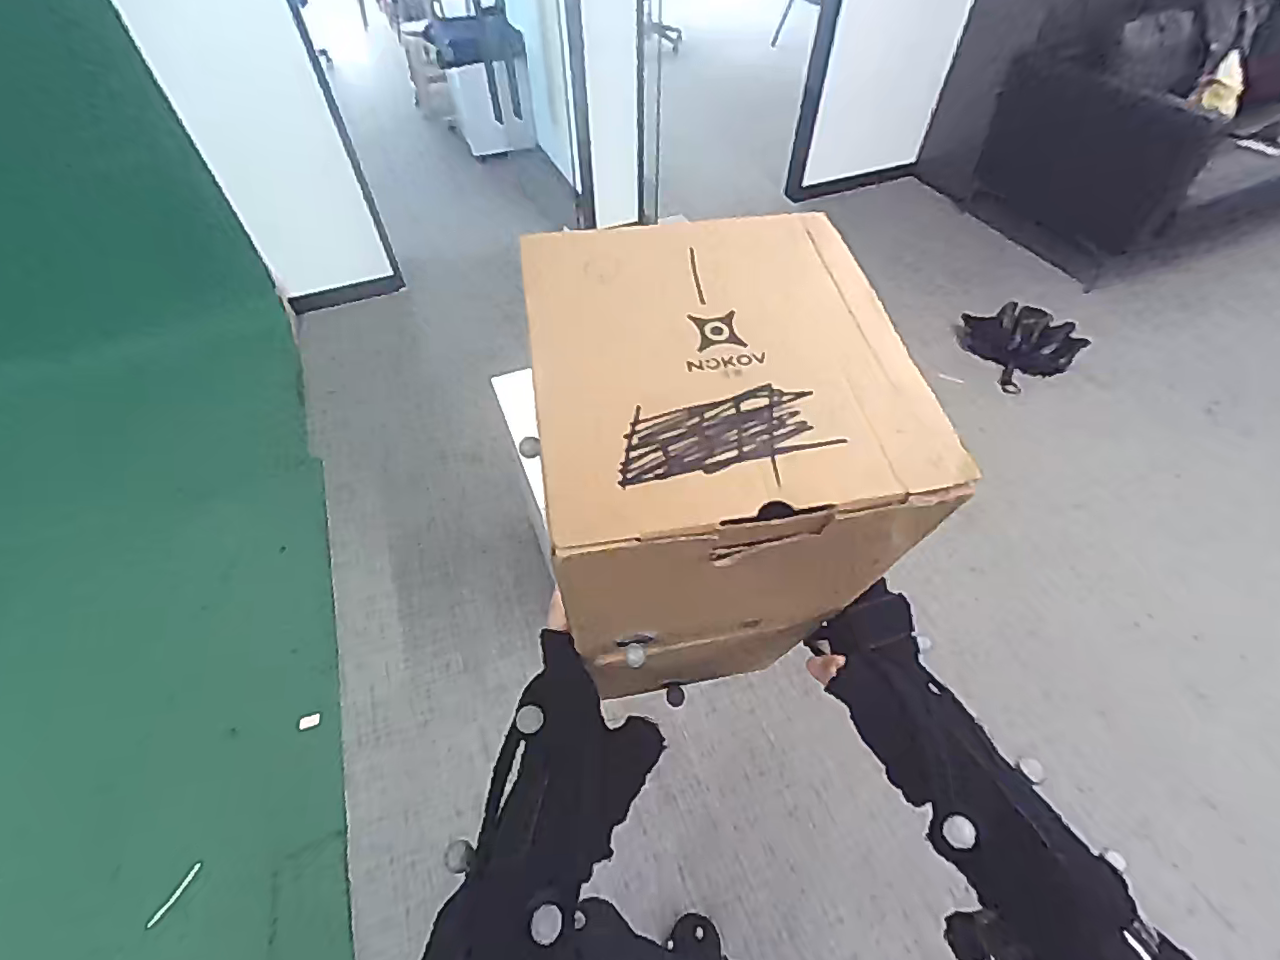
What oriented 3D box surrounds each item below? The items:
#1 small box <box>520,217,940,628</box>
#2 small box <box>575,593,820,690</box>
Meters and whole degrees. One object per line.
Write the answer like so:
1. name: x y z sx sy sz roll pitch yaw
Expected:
1. small box: 0.029 -0.022 0.322 0.168 0.176 0.179 -8 60 -6
2. small box: 0.023 0.063 0.462 0.168 0.176 0.179 -9 61 -7
